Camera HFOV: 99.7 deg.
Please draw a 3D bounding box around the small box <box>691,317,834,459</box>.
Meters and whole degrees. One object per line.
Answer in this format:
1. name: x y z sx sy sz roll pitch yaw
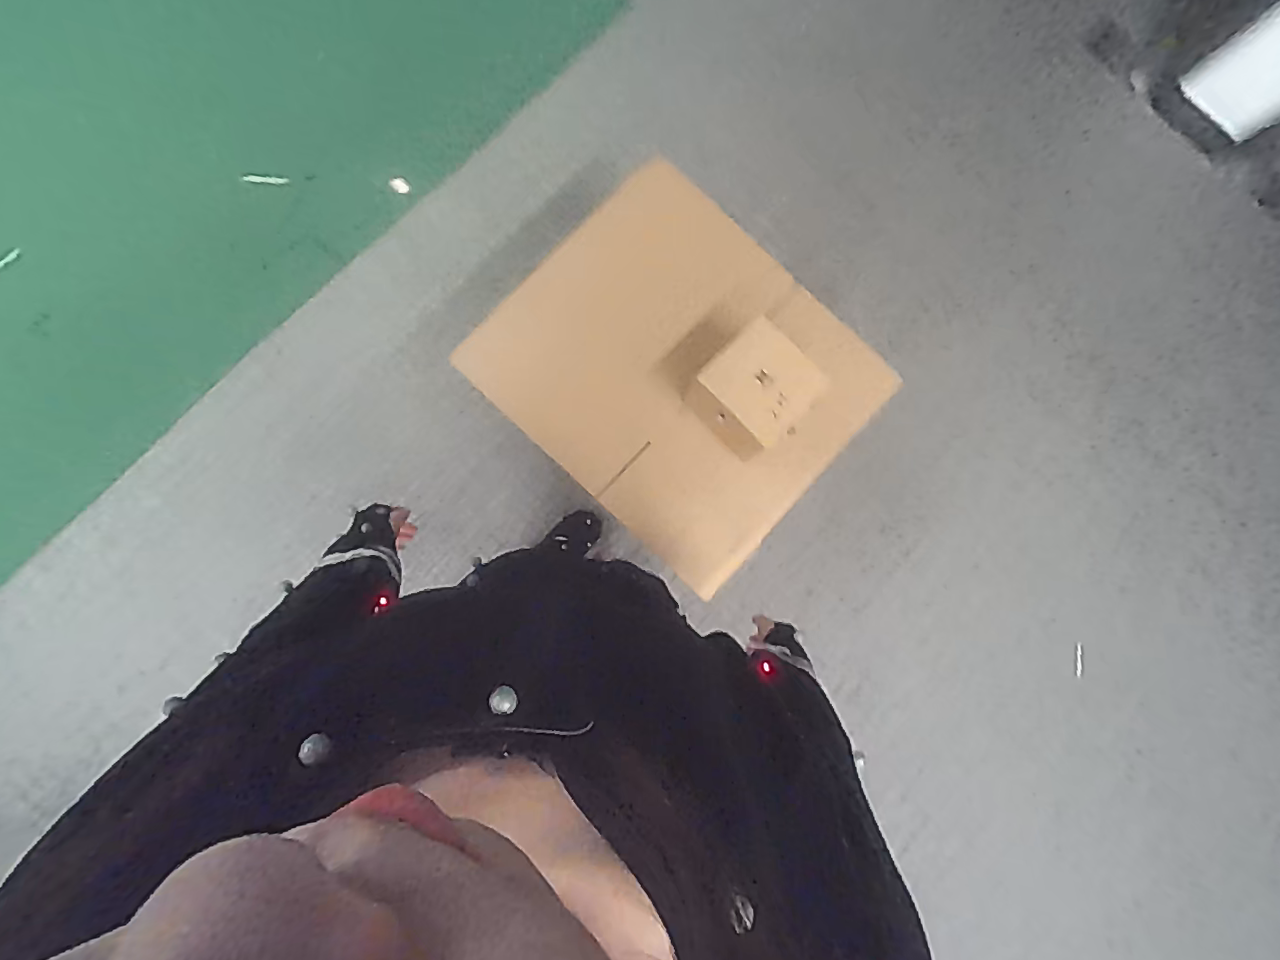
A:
1. small box: 0.212 -0.157 0.995 0.168 0.176 0.179 -43 87 -5
